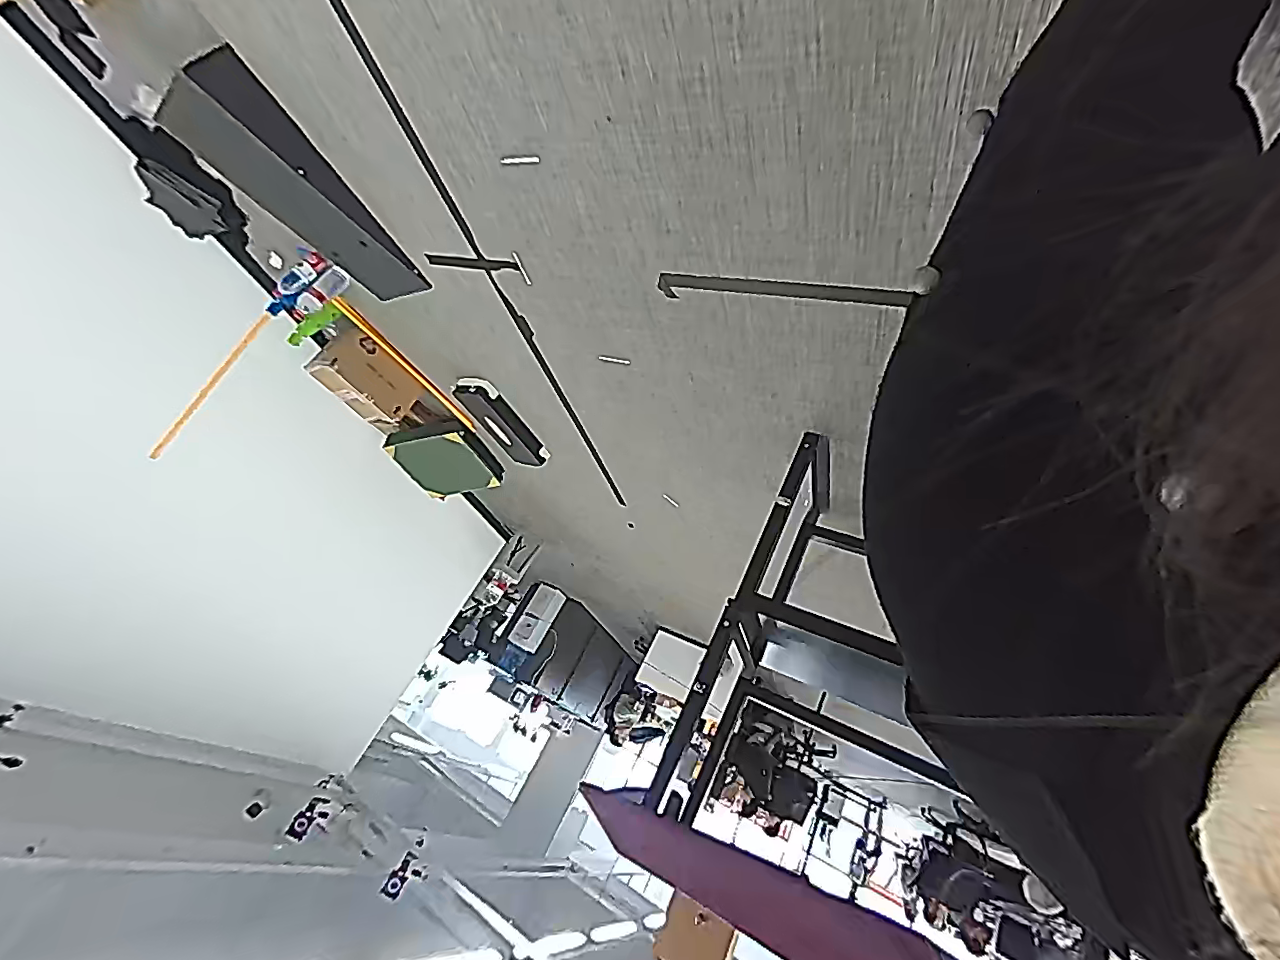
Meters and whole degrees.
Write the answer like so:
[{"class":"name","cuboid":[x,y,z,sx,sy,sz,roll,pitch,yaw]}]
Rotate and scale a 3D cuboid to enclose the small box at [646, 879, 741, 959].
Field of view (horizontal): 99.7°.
[{"class":"small box","cuboid":[0.144,1.180,1.410,0.179,0.176,0.168,17,153,28]}]
